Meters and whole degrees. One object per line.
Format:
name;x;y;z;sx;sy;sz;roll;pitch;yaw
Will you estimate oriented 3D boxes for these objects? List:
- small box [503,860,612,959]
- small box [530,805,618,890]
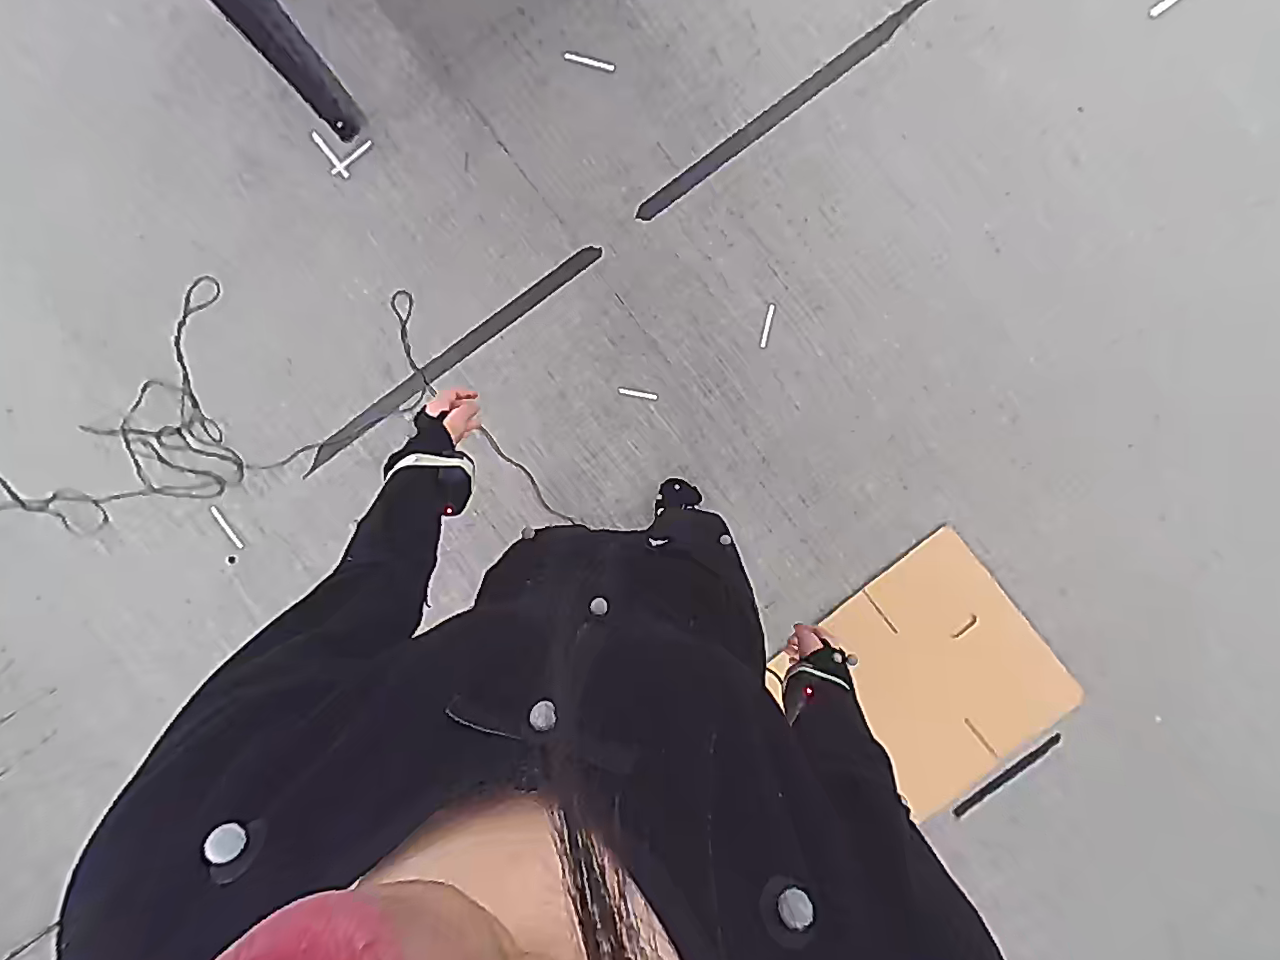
small box;-0.149;0.833;0.960;0.168;0.176;0.179;12;92;1
small box;-0.142;0.825;1.124;0.168;0.176;0.179;11;91;2
